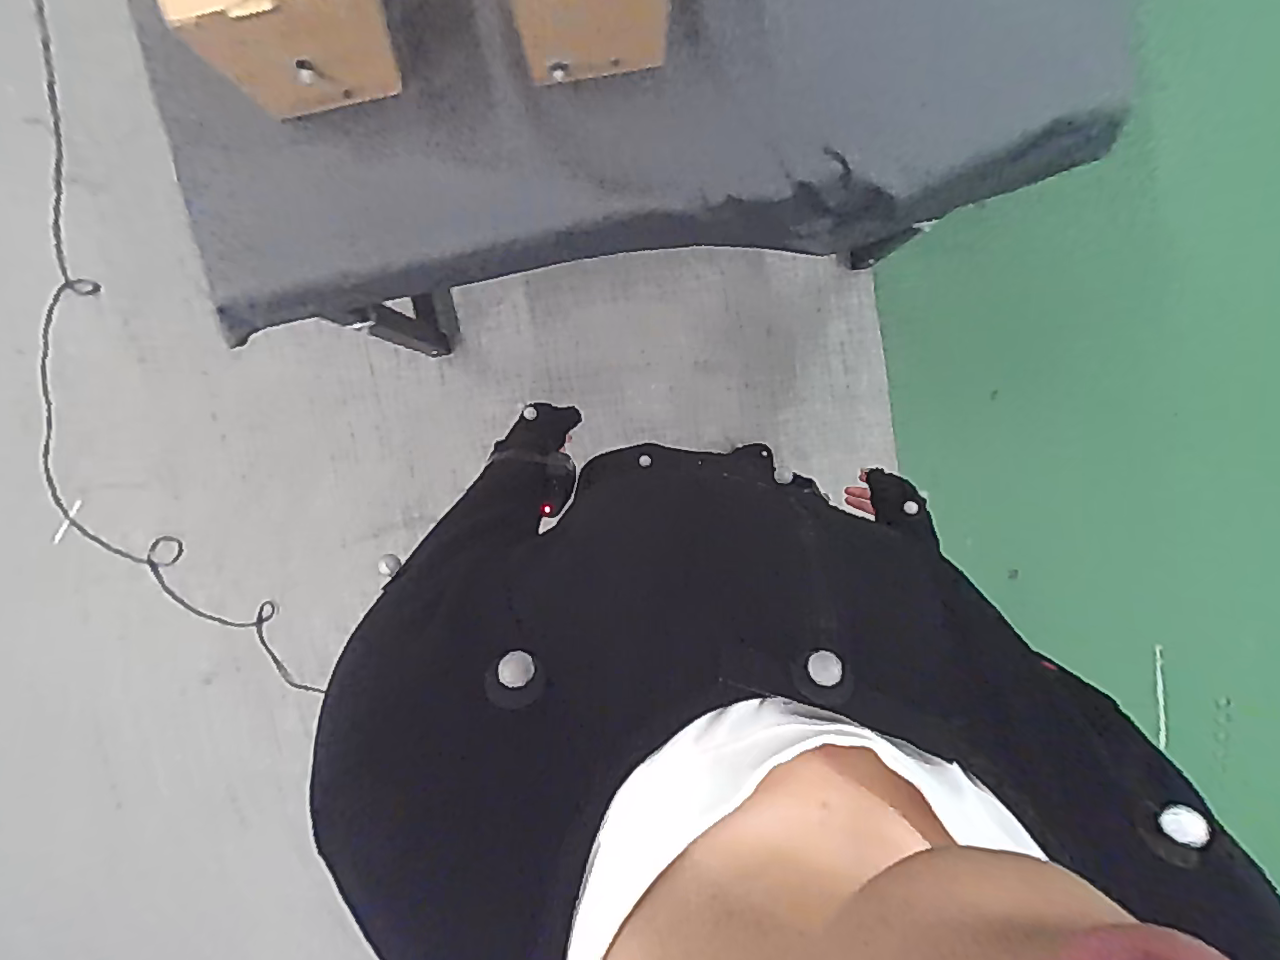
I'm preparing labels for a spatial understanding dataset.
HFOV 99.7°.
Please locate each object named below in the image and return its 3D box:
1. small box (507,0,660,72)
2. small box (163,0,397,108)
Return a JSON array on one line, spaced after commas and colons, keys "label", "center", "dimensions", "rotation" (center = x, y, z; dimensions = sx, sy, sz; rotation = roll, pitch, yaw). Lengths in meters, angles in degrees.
[{"label": "small box", "center": [-0.069, -0.592, 0.597], "dimensions": [0.168, 0.176, 0.179], "rotation": [-10, 95, 0]}, {"label": "small box", "center": [-0.398, -0.550, 0.599], "dimensions": [0.168, 0.176, 0.179], "rotation": [-13, 96, 1]}]
